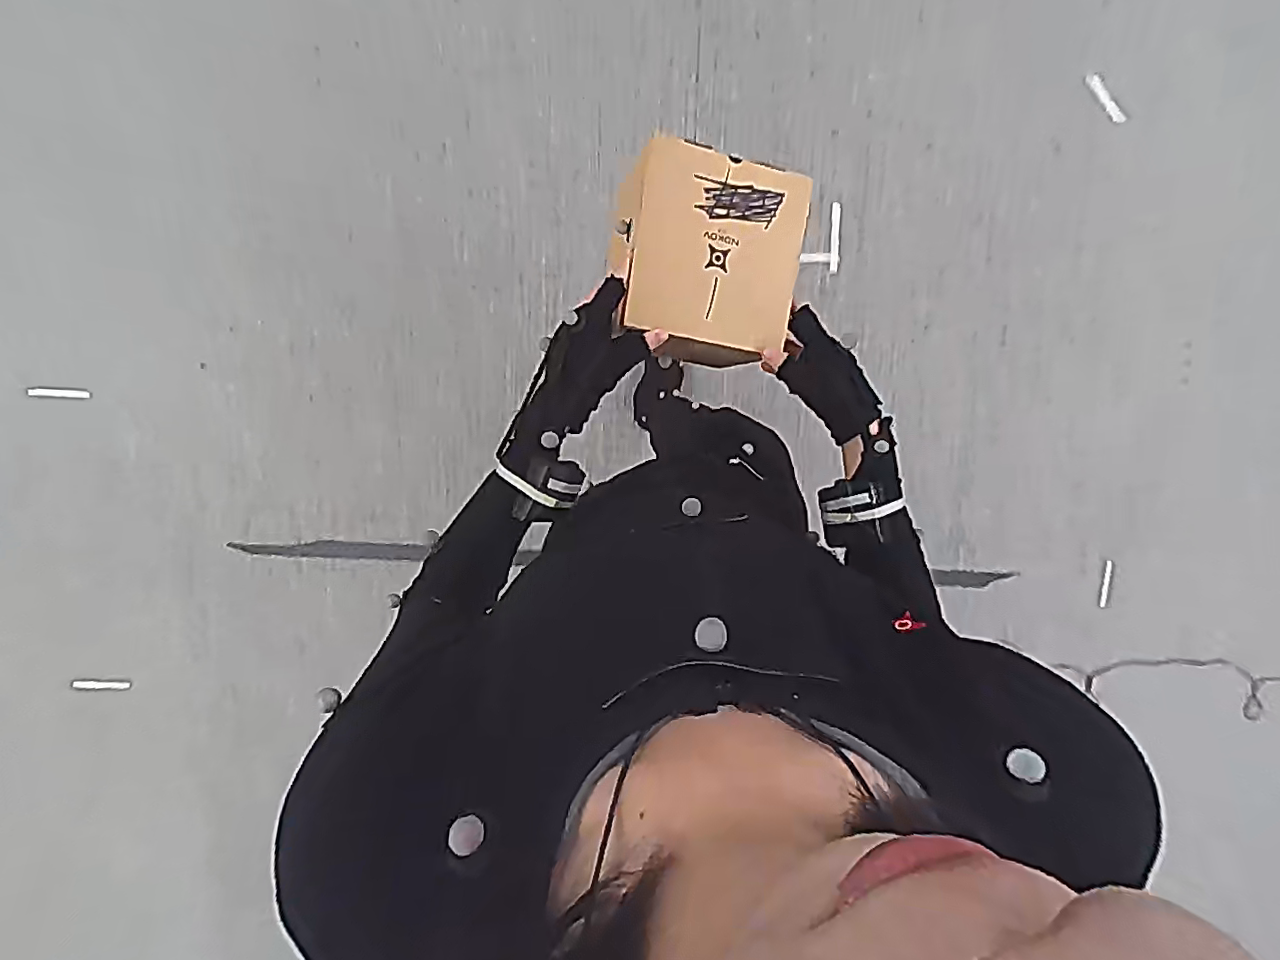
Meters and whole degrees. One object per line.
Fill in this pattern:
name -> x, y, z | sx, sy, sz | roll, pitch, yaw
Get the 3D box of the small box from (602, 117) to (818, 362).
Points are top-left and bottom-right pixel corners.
small box -> 0.060, -0.233, 0.578 | 0.168, 0.176, 0.179 | 8, 95, -14
